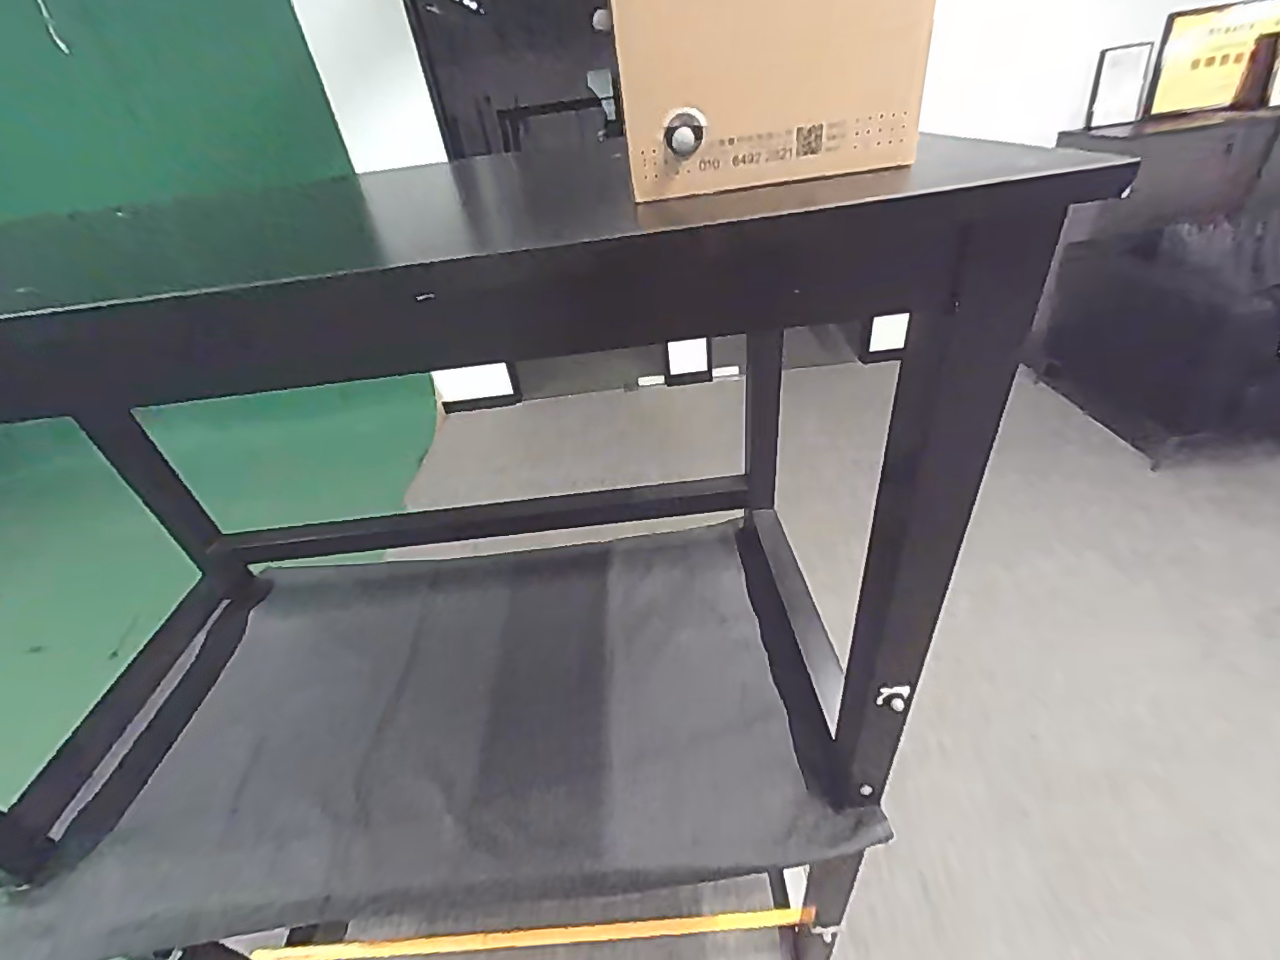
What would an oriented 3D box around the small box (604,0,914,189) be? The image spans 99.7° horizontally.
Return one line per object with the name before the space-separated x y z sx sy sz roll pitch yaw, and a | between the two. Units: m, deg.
small box | 0.066 -0.295 0.347 0.168 0.176 0.179 -5 34 5
